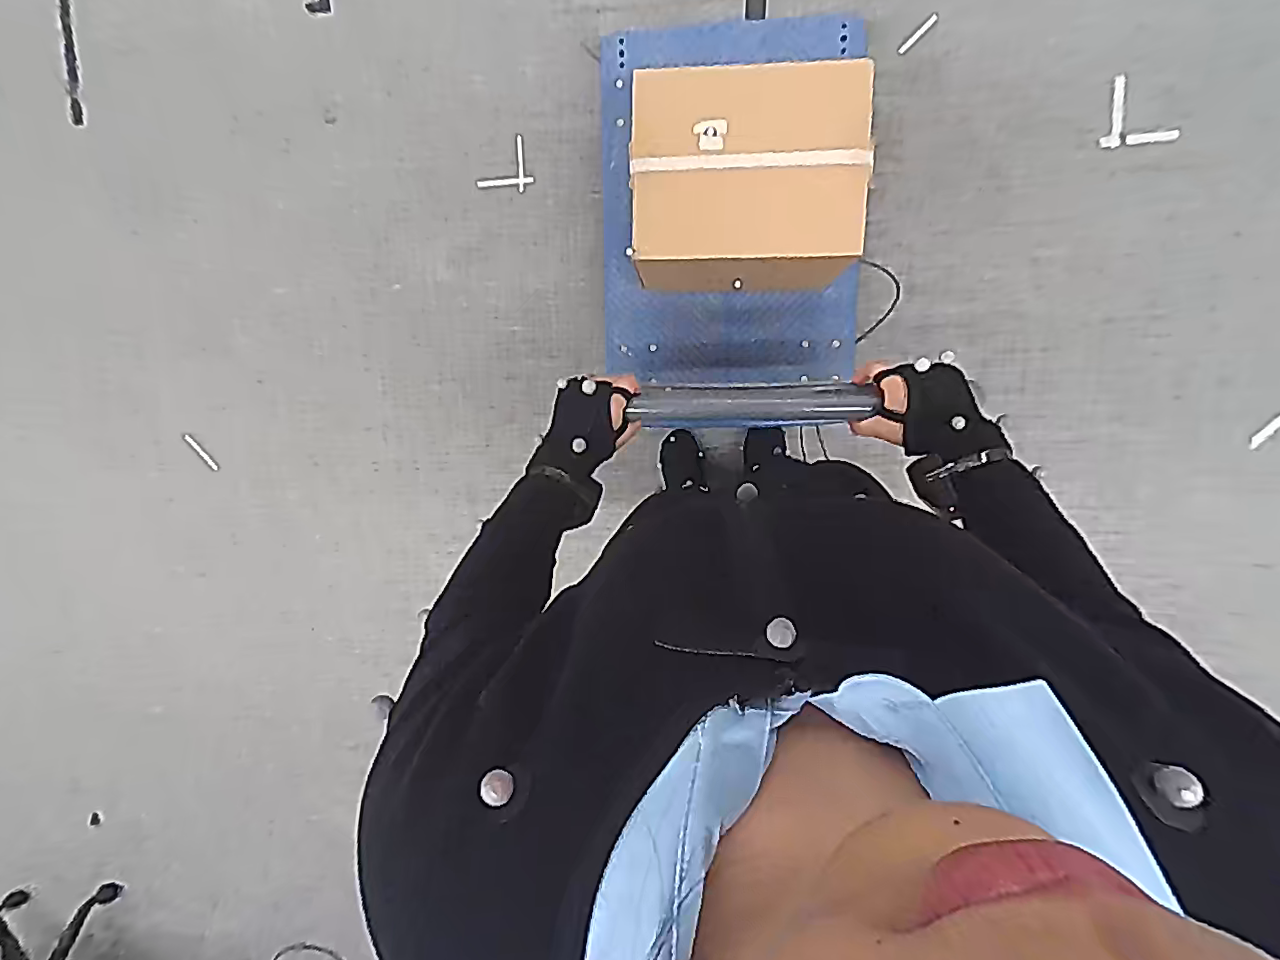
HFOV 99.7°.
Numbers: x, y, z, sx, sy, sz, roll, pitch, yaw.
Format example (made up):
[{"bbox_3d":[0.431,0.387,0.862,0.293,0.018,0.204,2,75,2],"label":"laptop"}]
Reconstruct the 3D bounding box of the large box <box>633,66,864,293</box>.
[{"bbox_3d":[0.203,-0.572,1.102,0.408,0.320,0.320,1,97,6],"label":"large box"}]
